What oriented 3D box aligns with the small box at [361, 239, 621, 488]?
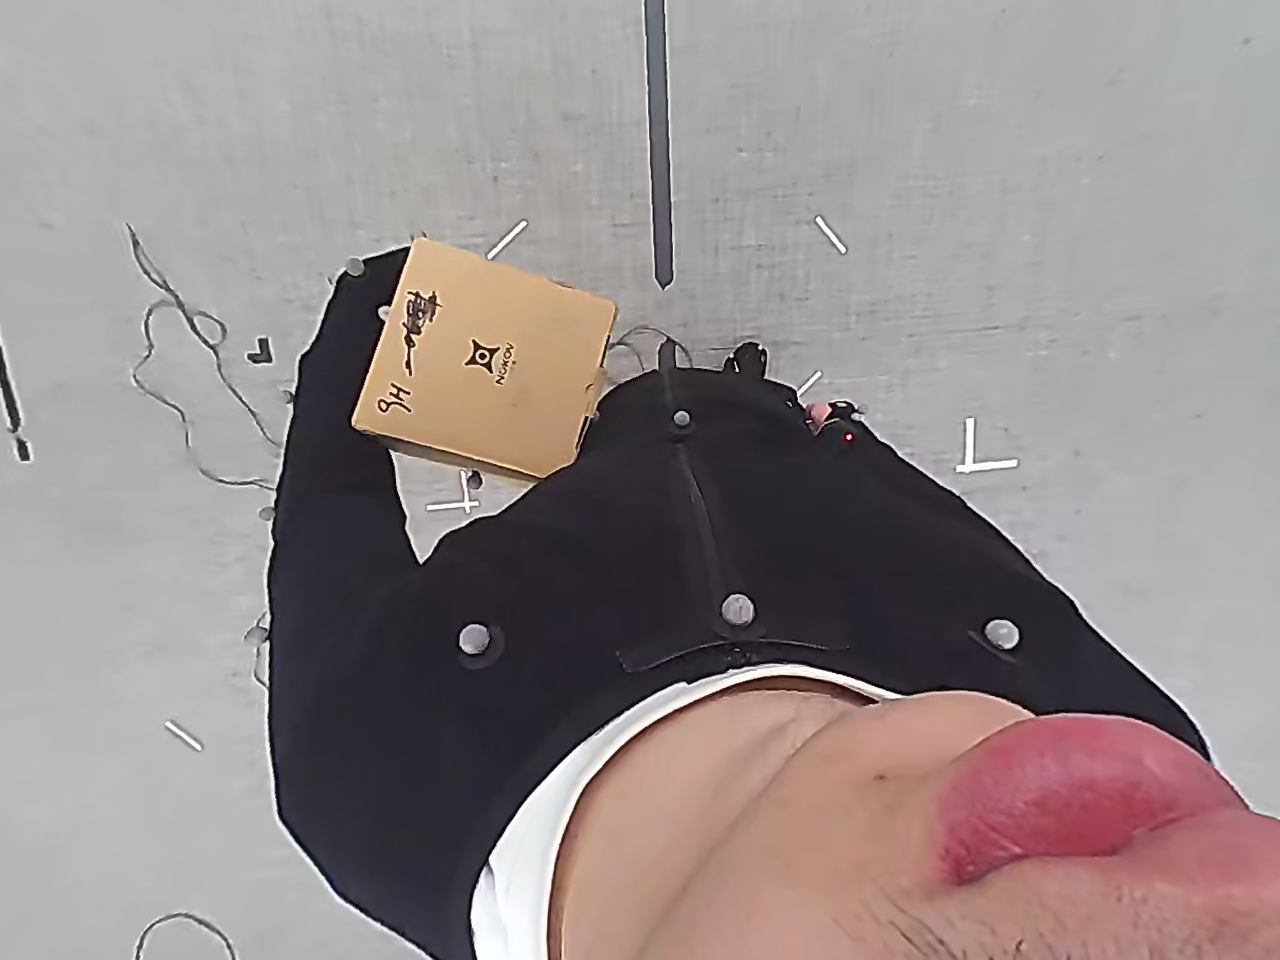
[{"bbox_3d":[-0.135,-0.093,0.528,0.179,0.176,0.168,16,81,-11],"label":"small box"}]
